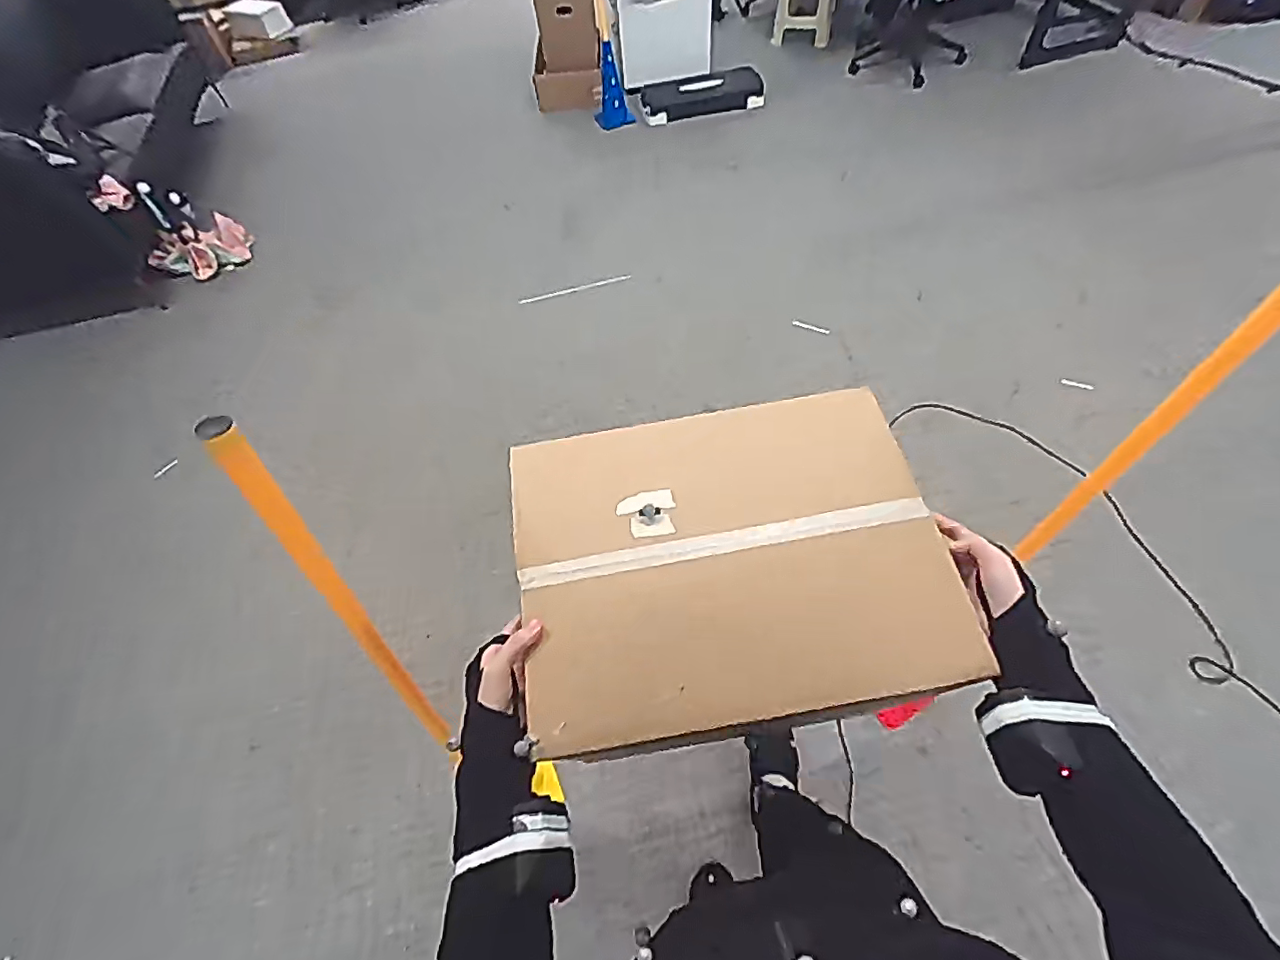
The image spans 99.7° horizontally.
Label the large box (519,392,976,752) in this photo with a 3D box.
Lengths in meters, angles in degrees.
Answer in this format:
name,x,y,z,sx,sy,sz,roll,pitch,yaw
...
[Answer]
name,x,y,z,sx,sy,sz,roll,pitch,yaw
large box,0.095,0.134,0.677,0.408,0.320,0.320,-10,62,0
